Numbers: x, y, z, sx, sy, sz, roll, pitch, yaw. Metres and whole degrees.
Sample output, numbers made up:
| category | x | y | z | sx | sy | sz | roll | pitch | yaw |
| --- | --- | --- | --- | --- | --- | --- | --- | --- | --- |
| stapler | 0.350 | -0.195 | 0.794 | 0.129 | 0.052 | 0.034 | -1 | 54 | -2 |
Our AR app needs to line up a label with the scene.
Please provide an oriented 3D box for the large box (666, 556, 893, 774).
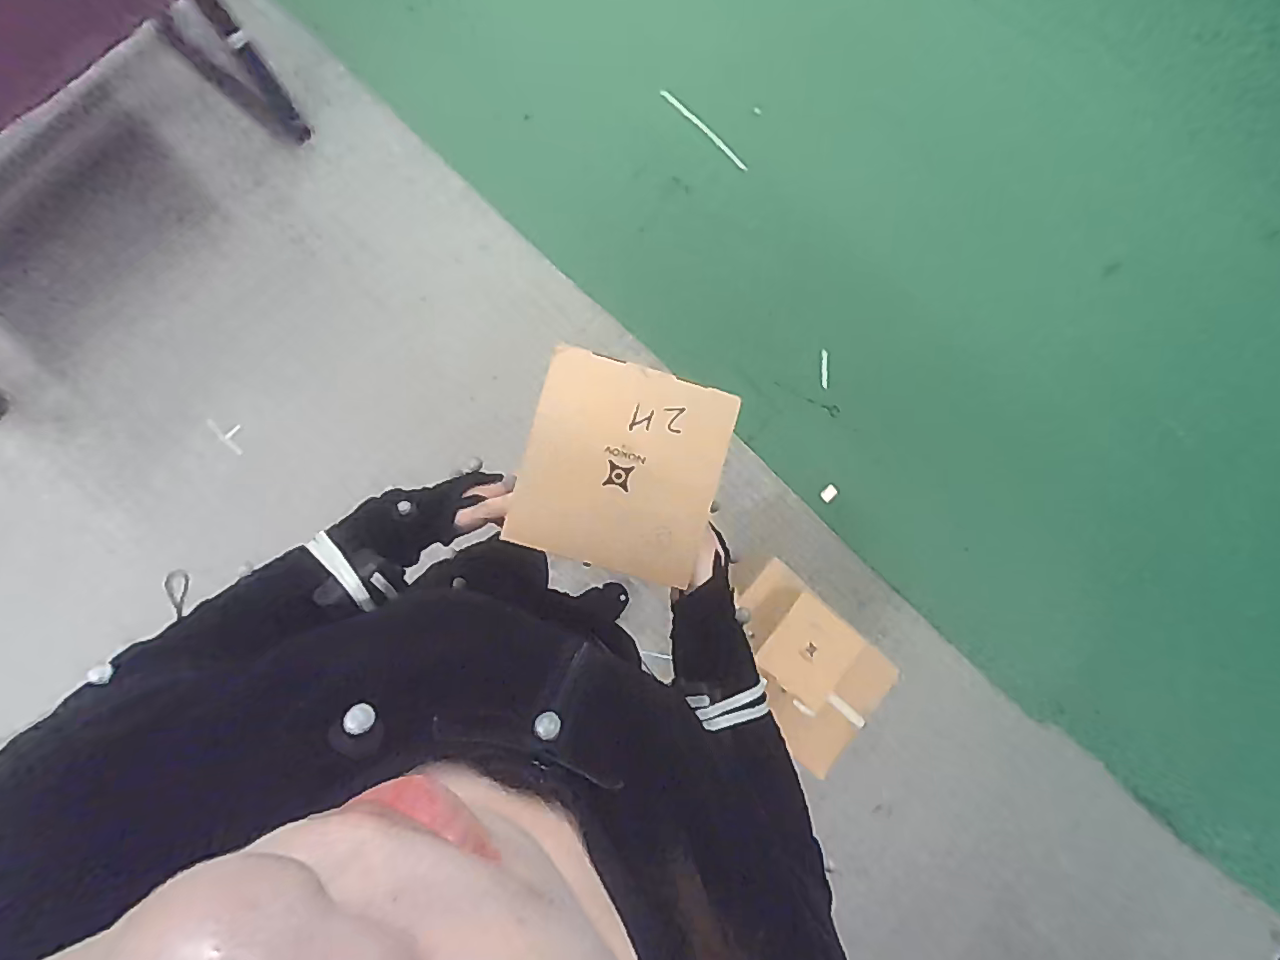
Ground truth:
| category | x | y | z | sx | sy | sz | roll | pitch | yaw |
| --- | --- | --- | --- | --- | --- | --- | --- | --- | --- |
| large box | 0.329 | 0.437 | 1.380 | 0.408 | 0.320 | 0.320 | 43 | 82 | 0 |

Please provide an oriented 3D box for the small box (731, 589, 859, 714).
| category | x | y | z | sx | sy | sz | roll | pitch | yaw |
| --- | --- | --- | --- | --- | --- | --- | --- | --- | --- |
| small box | 0.313 | 0.350 | 1.140 | 0.168 | 0.176 | 0.179 | 42 | 79 | 0 |
